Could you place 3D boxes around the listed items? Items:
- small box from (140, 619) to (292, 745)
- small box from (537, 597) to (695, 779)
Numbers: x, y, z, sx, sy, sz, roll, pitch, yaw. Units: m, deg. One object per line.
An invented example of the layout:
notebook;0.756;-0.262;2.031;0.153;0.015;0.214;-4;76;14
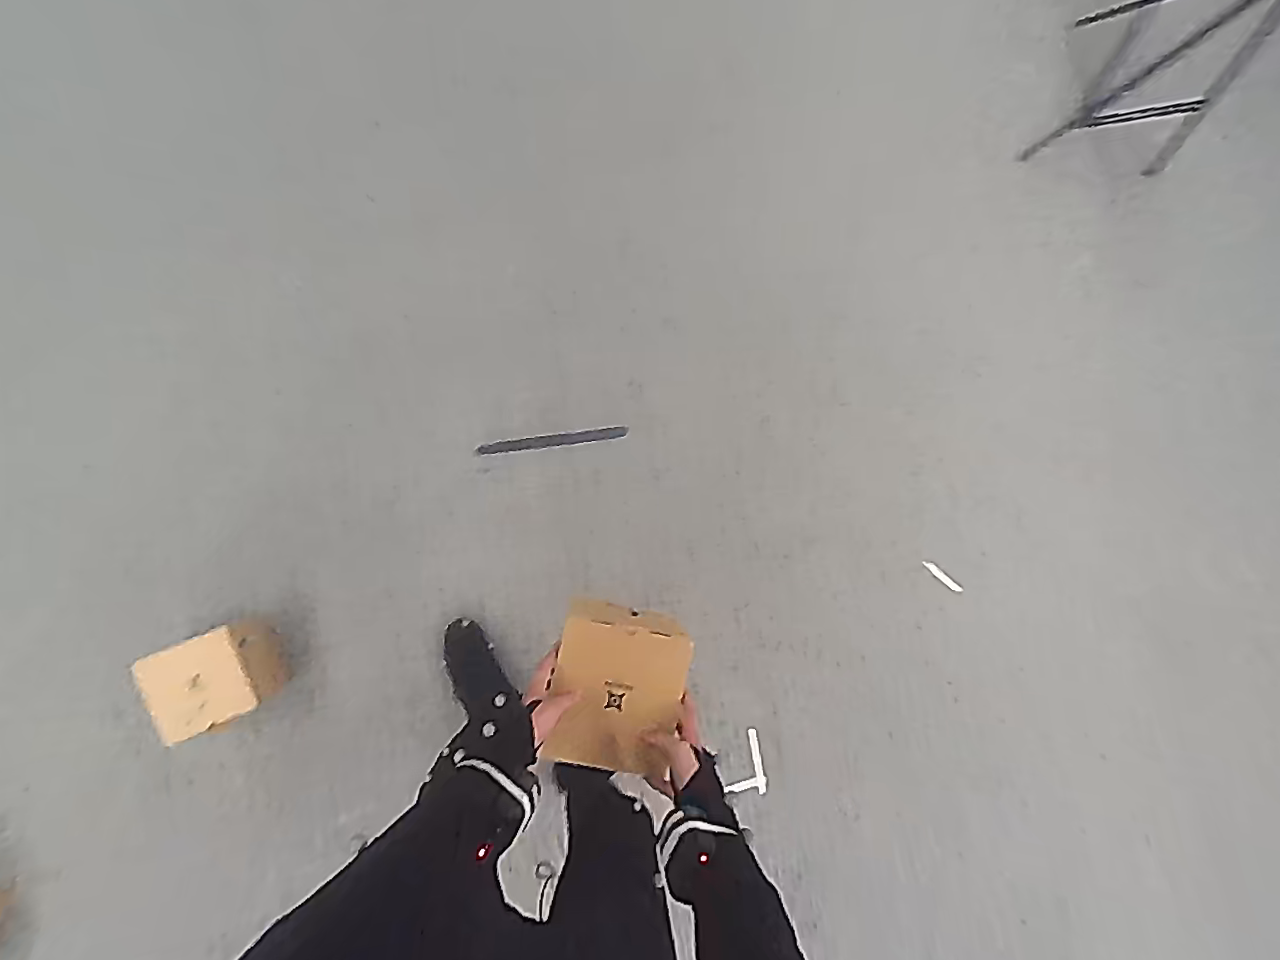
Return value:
small box;-0.865;0.403;1.121;0.168;0.176;0.179;-22;91;-14
small box;-0.035;0.272;0.744;0.168;0.176;0.179;13;84;-5
